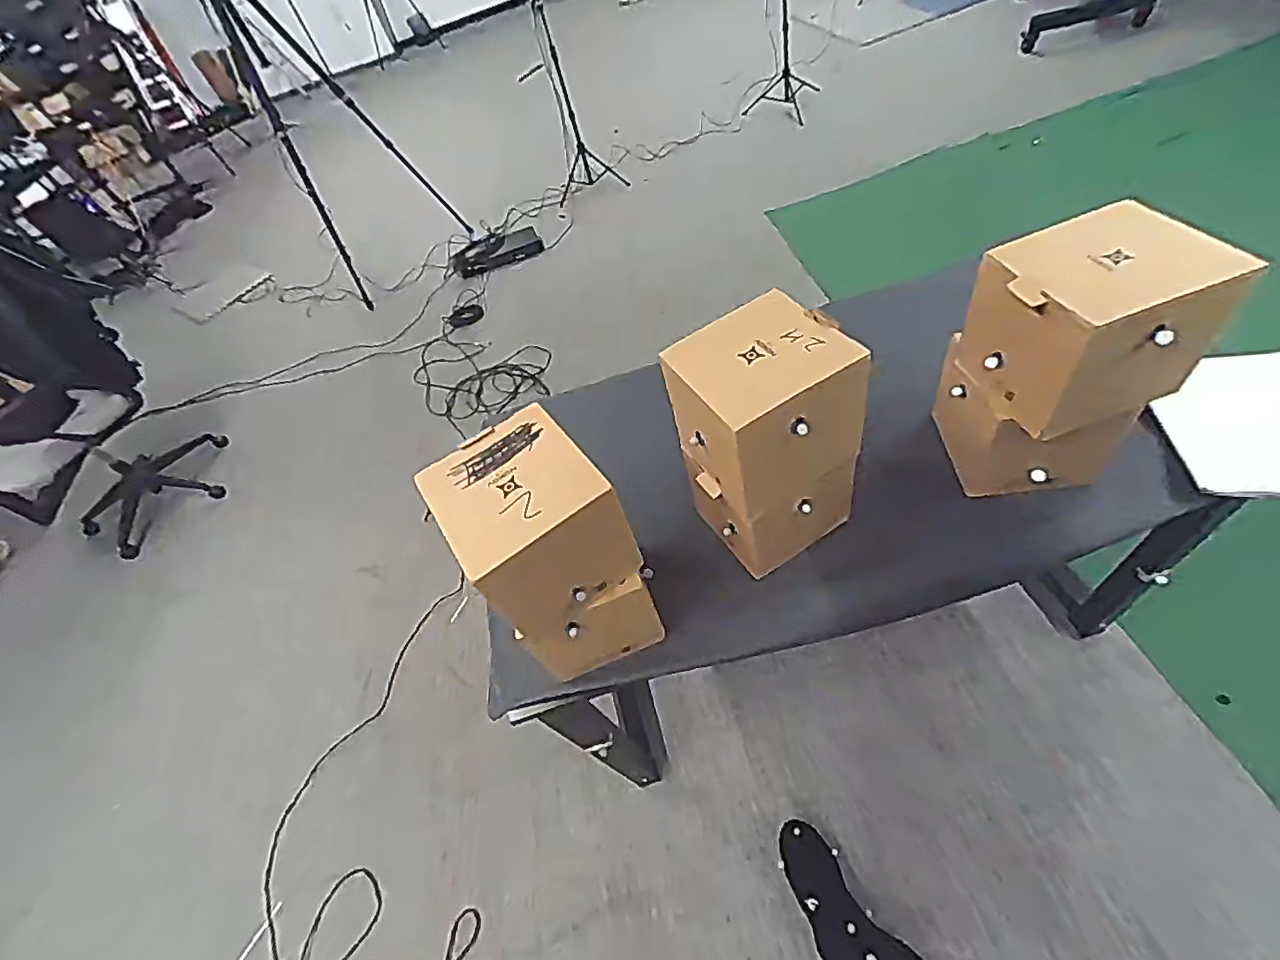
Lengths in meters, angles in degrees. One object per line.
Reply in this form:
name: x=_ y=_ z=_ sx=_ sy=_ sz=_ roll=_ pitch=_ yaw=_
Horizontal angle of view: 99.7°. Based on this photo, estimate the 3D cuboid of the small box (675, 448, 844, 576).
small box: x=0.178 y=0.012 z=0.805 sx=0.179 sy=0.176 sz=0.168 roll=-32 pitch=51 yaw=-10

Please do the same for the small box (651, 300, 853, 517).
small box: x=0.141 y=-0.085 z=0.677 sx=0.179 sy=0.176 sz=0.168 roll=-30 pitch=51 yaw=-7

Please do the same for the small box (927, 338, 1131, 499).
small box: x=0.534 y=-0.096 z=0.778 sx=0.168 sy=0.176 sz=0.179 roll=-8 pitch=51 yaw=12

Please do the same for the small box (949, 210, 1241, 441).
small box: x=0.504 y=-0.177 z=0.638 sx=0.179 sy=0.176 sz=0.168 roll=-21 pitch=49 yaw=2

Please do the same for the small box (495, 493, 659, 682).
small box: x=-0.087 y=0.156 z=0.770 sx=0.168 sy=0.176 sz=0.179 roll=-23 pitch=50 yaw=-2
